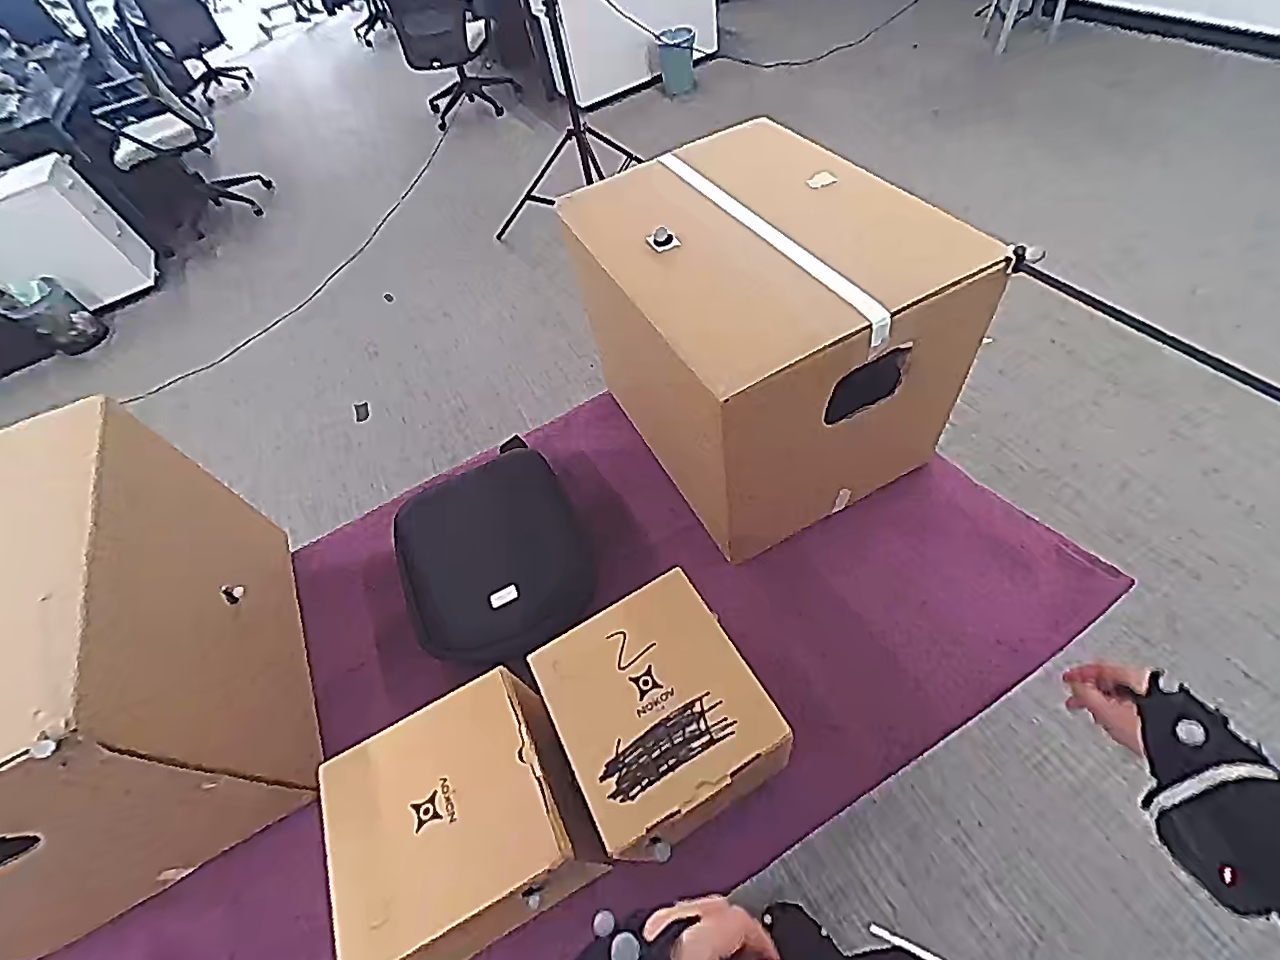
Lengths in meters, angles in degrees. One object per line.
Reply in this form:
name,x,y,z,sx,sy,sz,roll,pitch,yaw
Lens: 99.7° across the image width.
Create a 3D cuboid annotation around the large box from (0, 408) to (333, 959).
large box,-0.595,0.204,0.579,0.320,0.320,0.408,-29,57,-11
